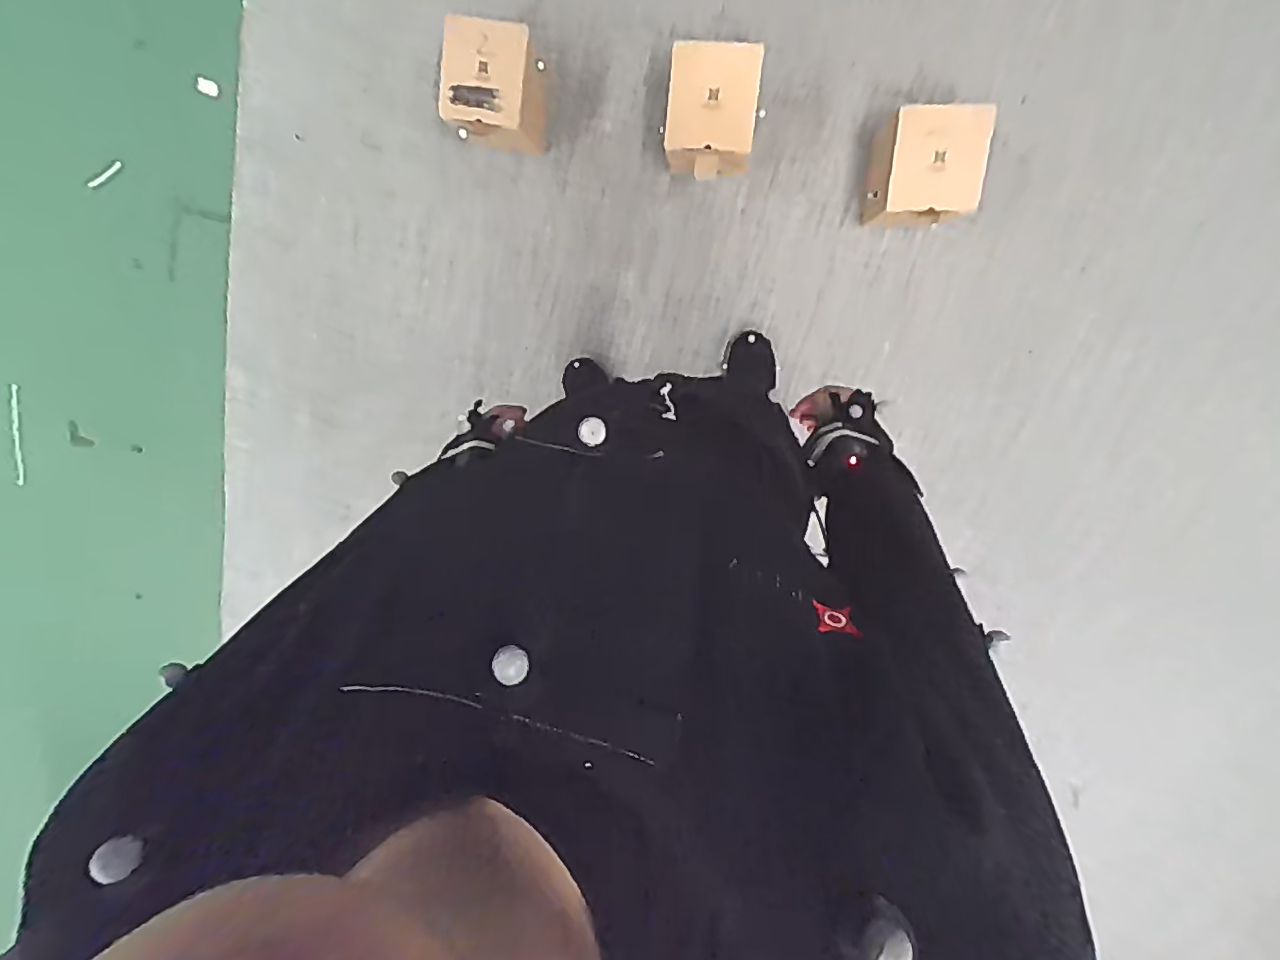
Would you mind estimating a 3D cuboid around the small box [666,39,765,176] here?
[{"bbox_3d":[0.144,-0.722,1.063,0.168,0.176,0.179,6,107,5],"label":"small box"}]

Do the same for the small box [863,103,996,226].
[{"bbox_3d":[0.545,-0.599,1.048,0.168,0.176,0.179,3,105,5],"label":"small box"}]
